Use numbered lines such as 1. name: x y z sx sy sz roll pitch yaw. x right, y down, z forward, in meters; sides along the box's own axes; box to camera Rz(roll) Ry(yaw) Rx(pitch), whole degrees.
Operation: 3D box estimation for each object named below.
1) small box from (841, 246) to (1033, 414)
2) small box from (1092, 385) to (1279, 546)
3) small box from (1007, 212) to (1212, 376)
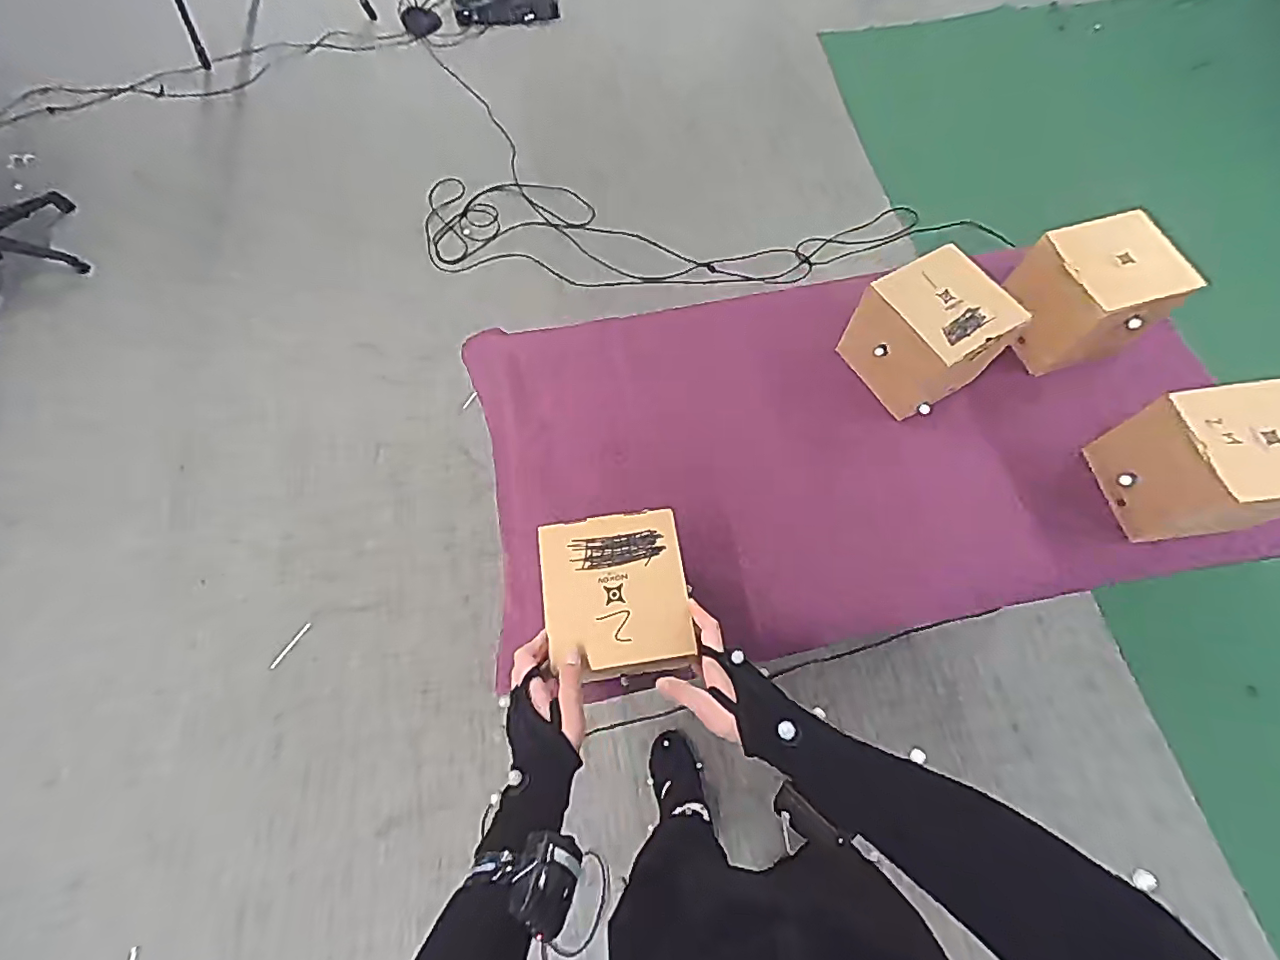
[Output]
1. small box: 0.459 -0.228 0.868 0.168 0.176 0.179 -28 69 -10
2. small box: 0.811 -0.015 0.764 0.179 0.176 0.168 -7 66 0
3. small box: 0.740 -0.298 0.890 0.179 0.176 0.168 -16 68 -4
